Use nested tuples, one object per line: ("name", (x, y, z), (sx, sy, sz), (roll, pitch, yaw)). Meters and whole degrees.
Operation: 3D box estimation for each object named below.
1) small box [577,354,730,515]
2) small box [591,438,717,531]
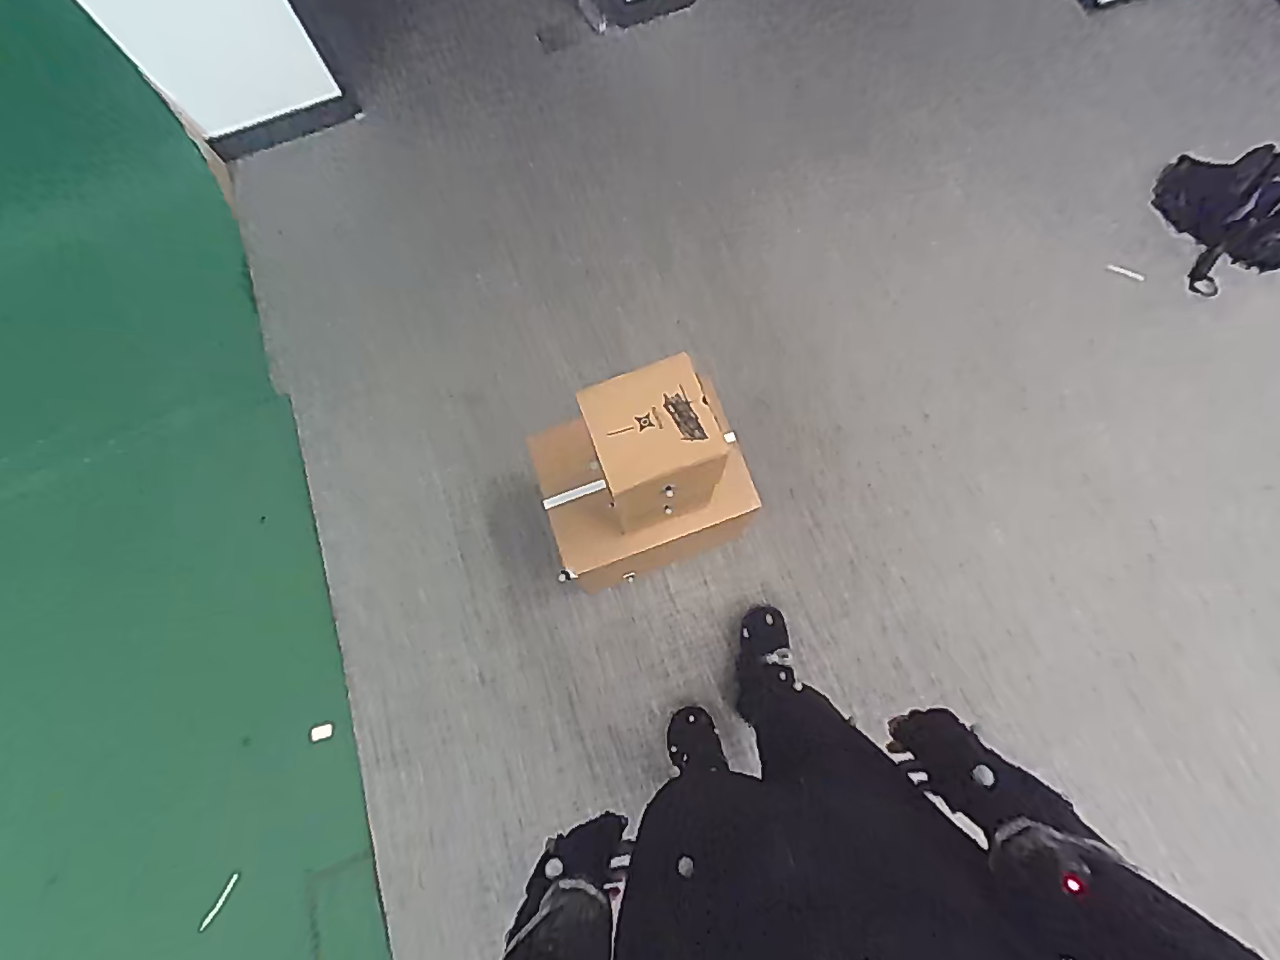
("small box", (0.022, -0.061, 0.836), (0.179, 0.176, 0.168), (-22, 74, -1))
("small box", (0.028, -0.019, 0.995), (0.179, 0.176, 0.168), (-22, 75, -3))
